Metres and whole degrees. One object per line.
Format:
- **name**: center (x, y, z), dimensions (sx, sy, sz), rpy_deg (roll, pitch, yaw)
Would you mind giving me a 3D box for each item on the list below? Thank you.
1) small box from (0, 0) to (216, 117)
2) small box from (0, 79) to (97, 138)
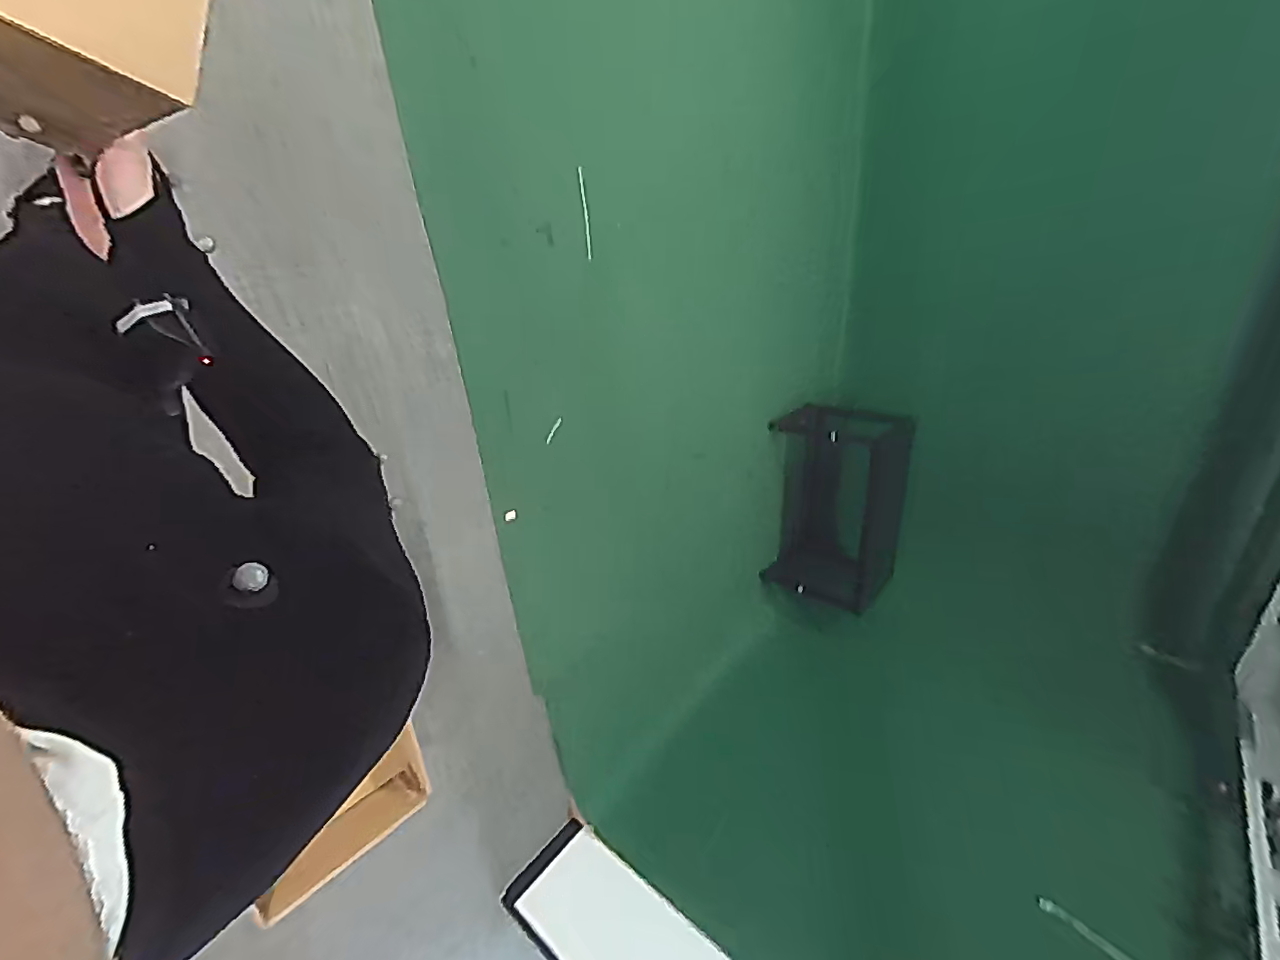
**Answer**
- **small box**: center (-0.323, -0.299, 0.249), dimensions (0.179, 0.176, 0.168), rpy_deg (4, 104, -53)
- **small box**: center (-0.566, -0.407, 0.438), dimensions (0.179, 0.176, 0.168), rpy_deg (7, 101, -53)
